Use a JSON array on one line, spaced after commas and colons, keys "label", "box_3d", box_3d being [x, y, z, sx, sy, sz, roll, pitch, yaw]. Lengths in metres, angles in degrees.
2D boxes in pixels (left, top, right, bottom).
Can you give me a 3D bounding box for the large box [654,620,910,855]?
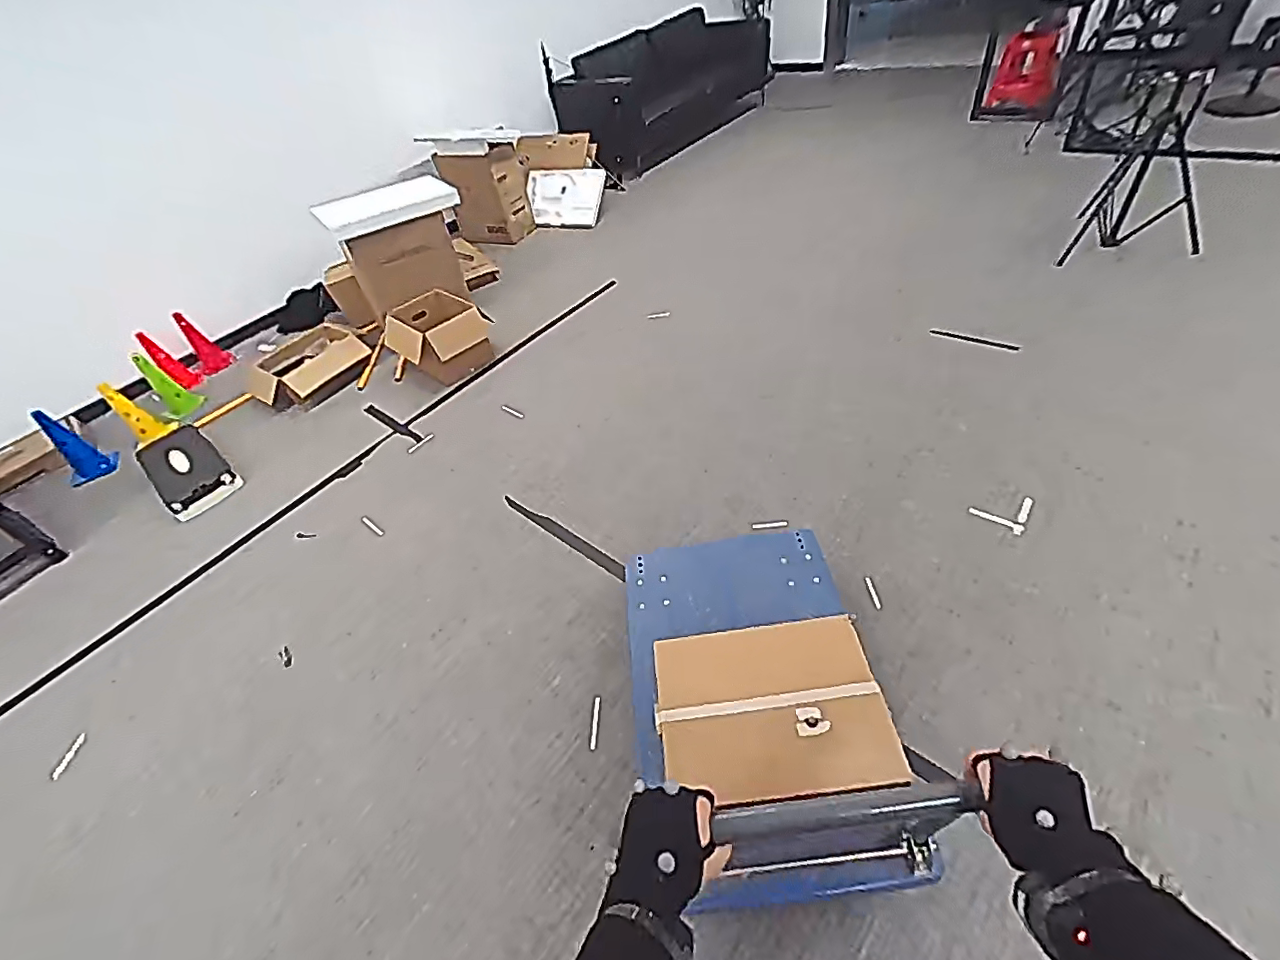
[{"label": "large box", "box_3d": [0.254, 0.526, 1.098, 0.408, 0.320, 0.320, -8, 45, 2]}]
